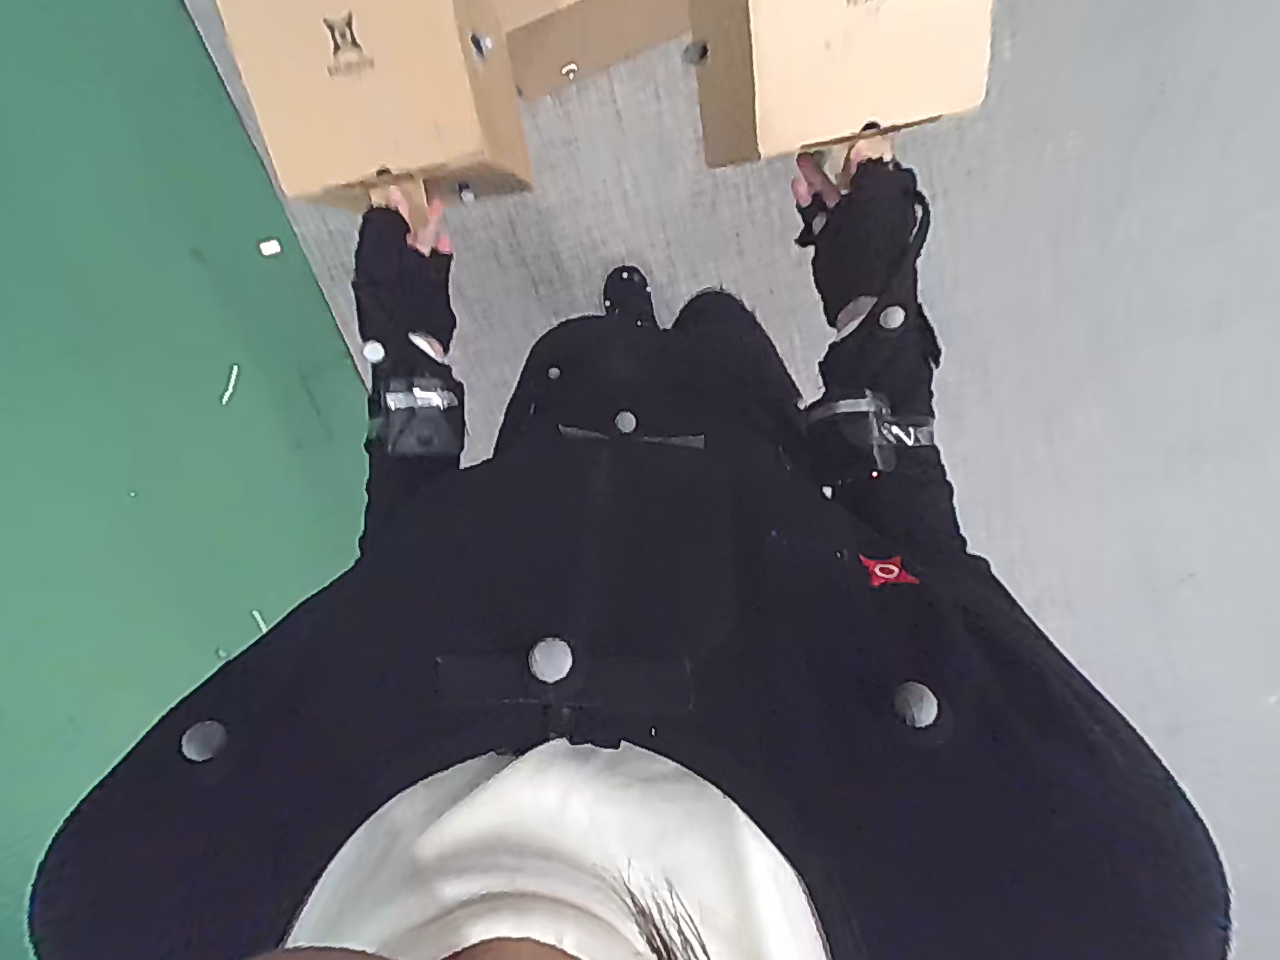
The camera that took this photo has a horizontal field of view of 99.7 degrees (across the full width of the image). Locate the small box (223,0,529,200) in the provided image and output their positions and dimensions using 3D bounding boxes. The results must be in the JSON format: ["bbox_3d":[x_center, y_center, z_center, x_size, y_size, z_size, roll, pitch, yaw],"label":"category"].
[{"bbox_3d":[-0.206,-0.350,0.462,0.168,0.176,0.179,-8,110,6],"label":"small box"}]

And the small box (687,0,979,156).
[{"bbox_3d":[0.134,-0.365,0.418,0.168,0.176,0.179,-12,120,0],"label":"small box"}]
